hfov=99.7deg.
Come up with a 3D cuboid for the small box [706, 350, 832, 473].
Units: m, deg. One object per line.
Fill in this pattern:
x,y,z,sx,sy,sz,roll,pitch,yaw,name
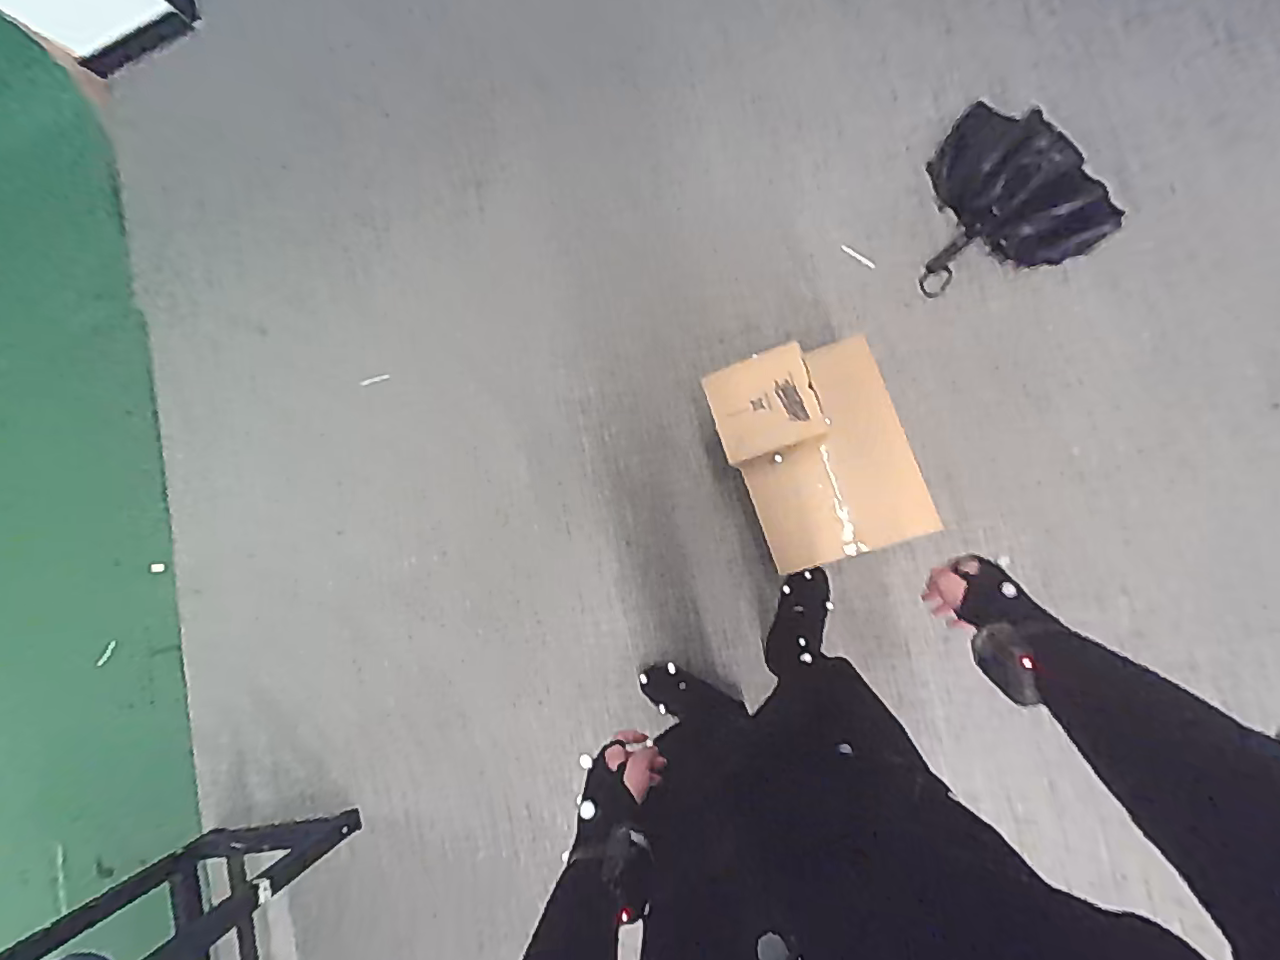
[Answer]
0.241,-0.116,1.000,0.179,0.176,0.168,-19,82,17,small box
